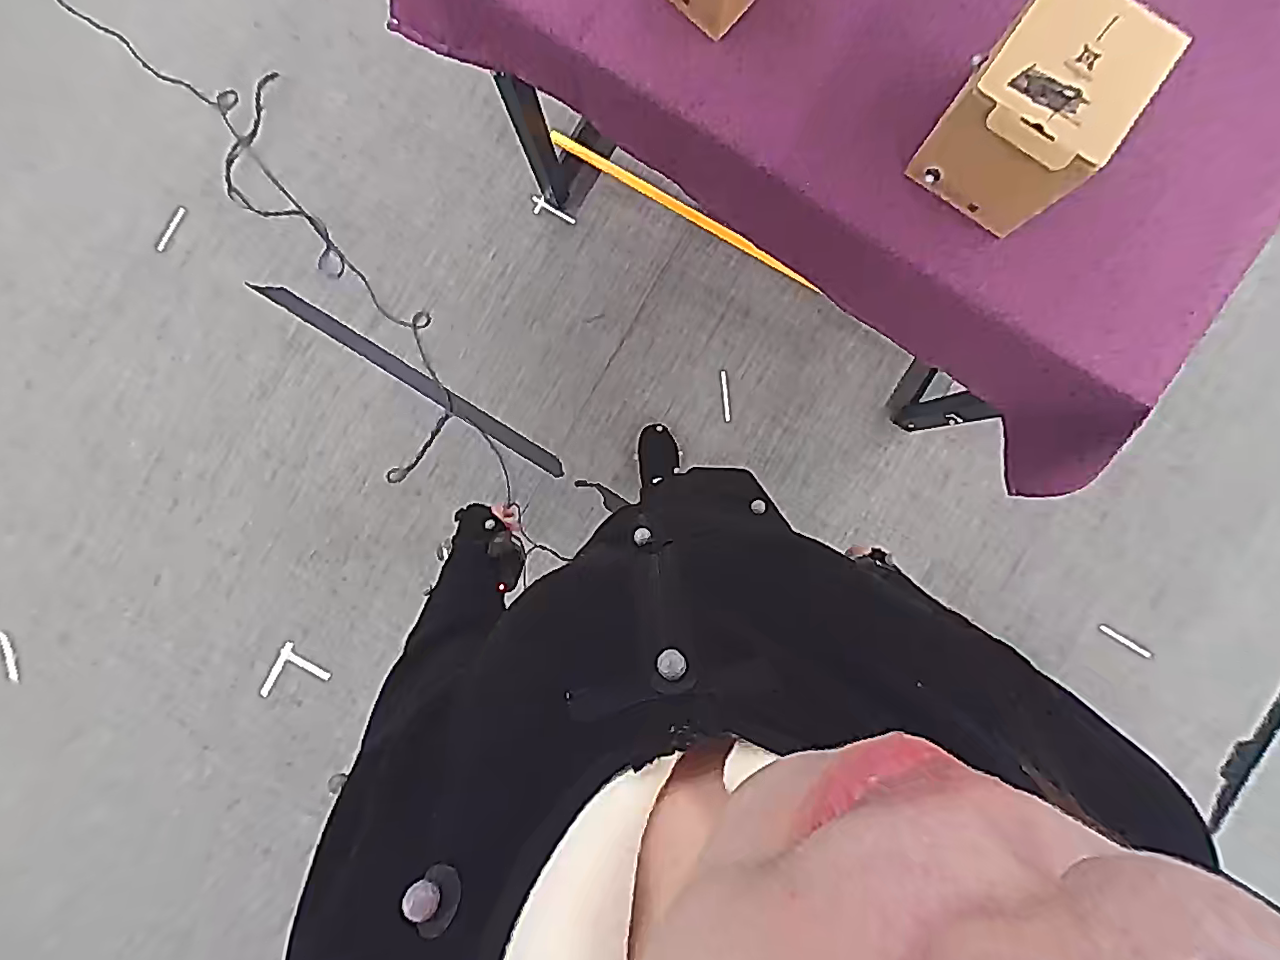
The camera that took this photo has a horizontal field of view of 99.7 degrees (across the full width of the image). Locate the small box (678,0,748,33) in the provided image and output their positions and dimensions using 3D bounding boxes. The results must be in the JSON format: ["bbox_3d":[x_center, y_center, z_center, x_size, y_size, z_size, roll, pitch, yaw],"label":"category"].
[{"bbox_3d":[0.102,-0.727,0.673,0.168,0.176,0.179,43,92,0],"label":"small box"}]

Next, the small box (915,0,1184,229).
[{"bbox_3d":[0.476,-0.452,0.666,0.168,0.176,0.179,35,91,1],"label":"small box"}]
